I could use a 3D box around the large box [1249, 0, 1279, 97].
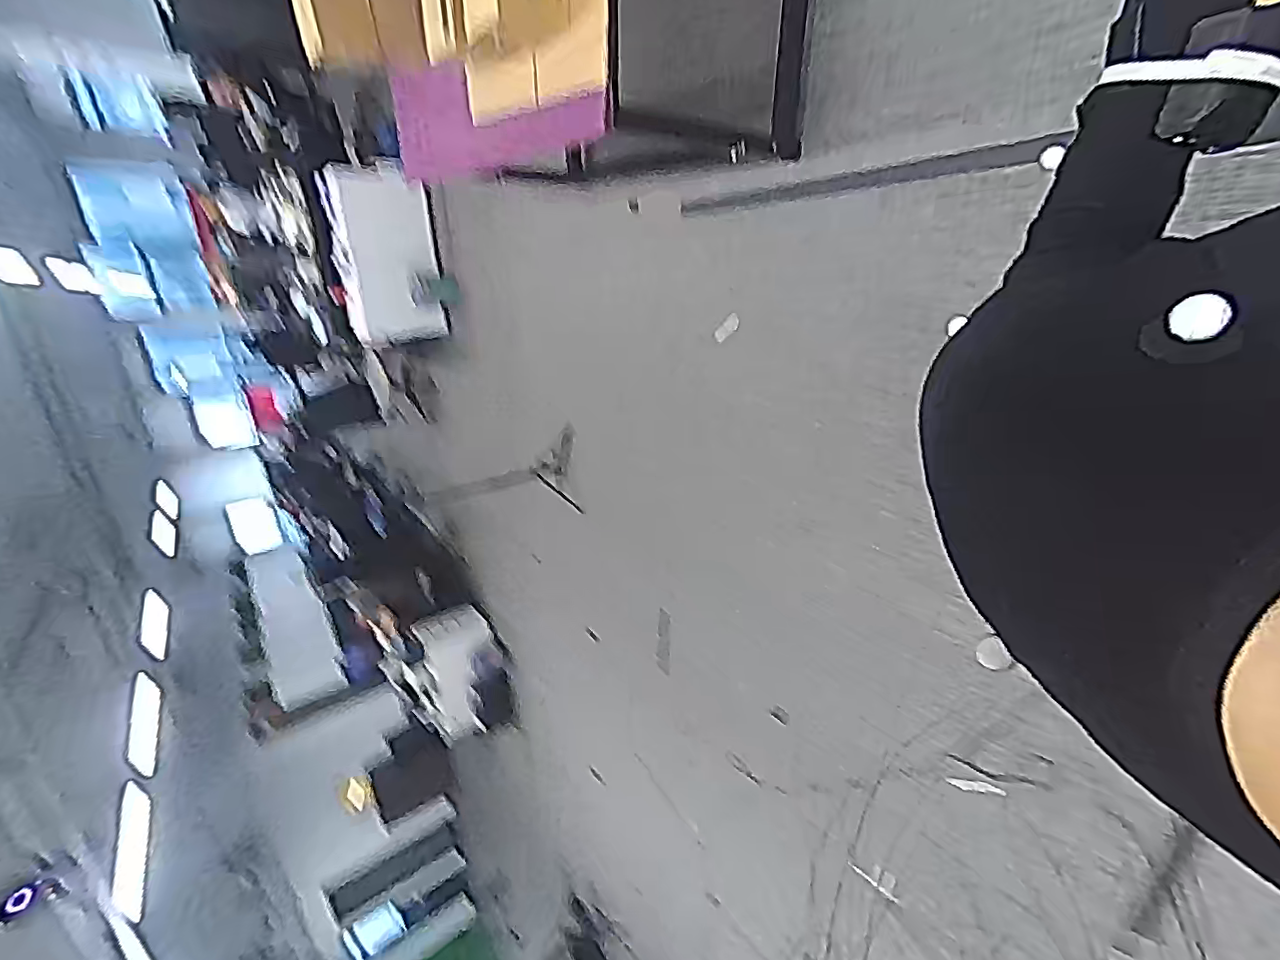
[{"bbox_3d":[0.604,-0.377,0.216,0.408,0.320,0.320,27,129,40],"label":"large box"}]
